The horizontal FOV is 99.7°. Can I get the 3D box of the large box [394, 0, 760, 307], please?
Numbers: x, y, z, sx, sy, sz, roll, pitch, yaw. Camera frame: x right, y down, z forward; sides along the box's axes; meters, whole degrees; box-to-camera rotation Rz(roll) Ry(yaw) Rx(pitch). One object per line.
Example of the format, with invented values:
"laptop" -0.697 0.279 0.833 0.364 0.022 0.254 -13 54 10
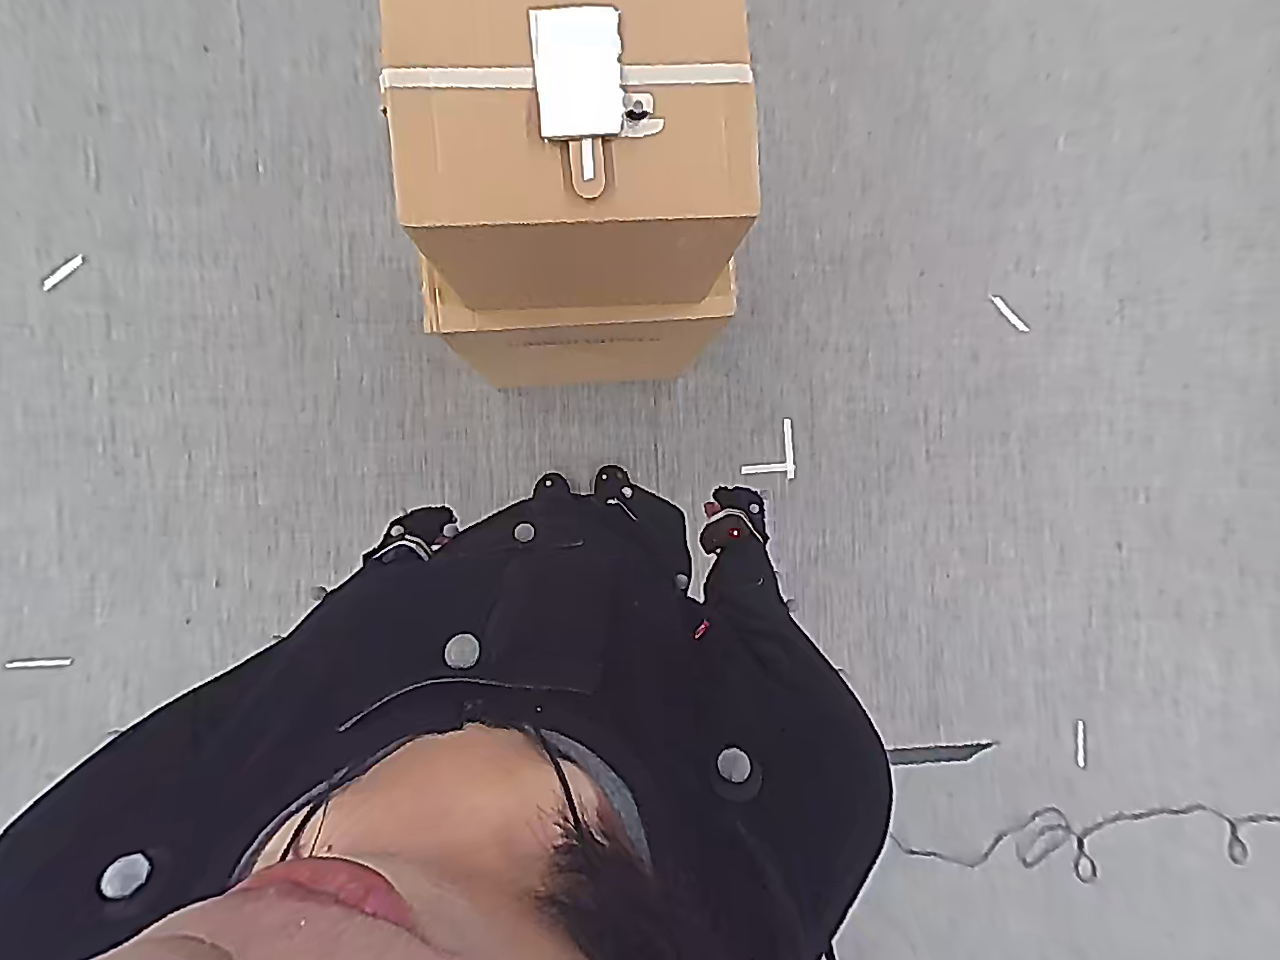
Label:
"large box" -0.083 -0.453 0.764 0.408 0.320 0.320 -4 91 -6
